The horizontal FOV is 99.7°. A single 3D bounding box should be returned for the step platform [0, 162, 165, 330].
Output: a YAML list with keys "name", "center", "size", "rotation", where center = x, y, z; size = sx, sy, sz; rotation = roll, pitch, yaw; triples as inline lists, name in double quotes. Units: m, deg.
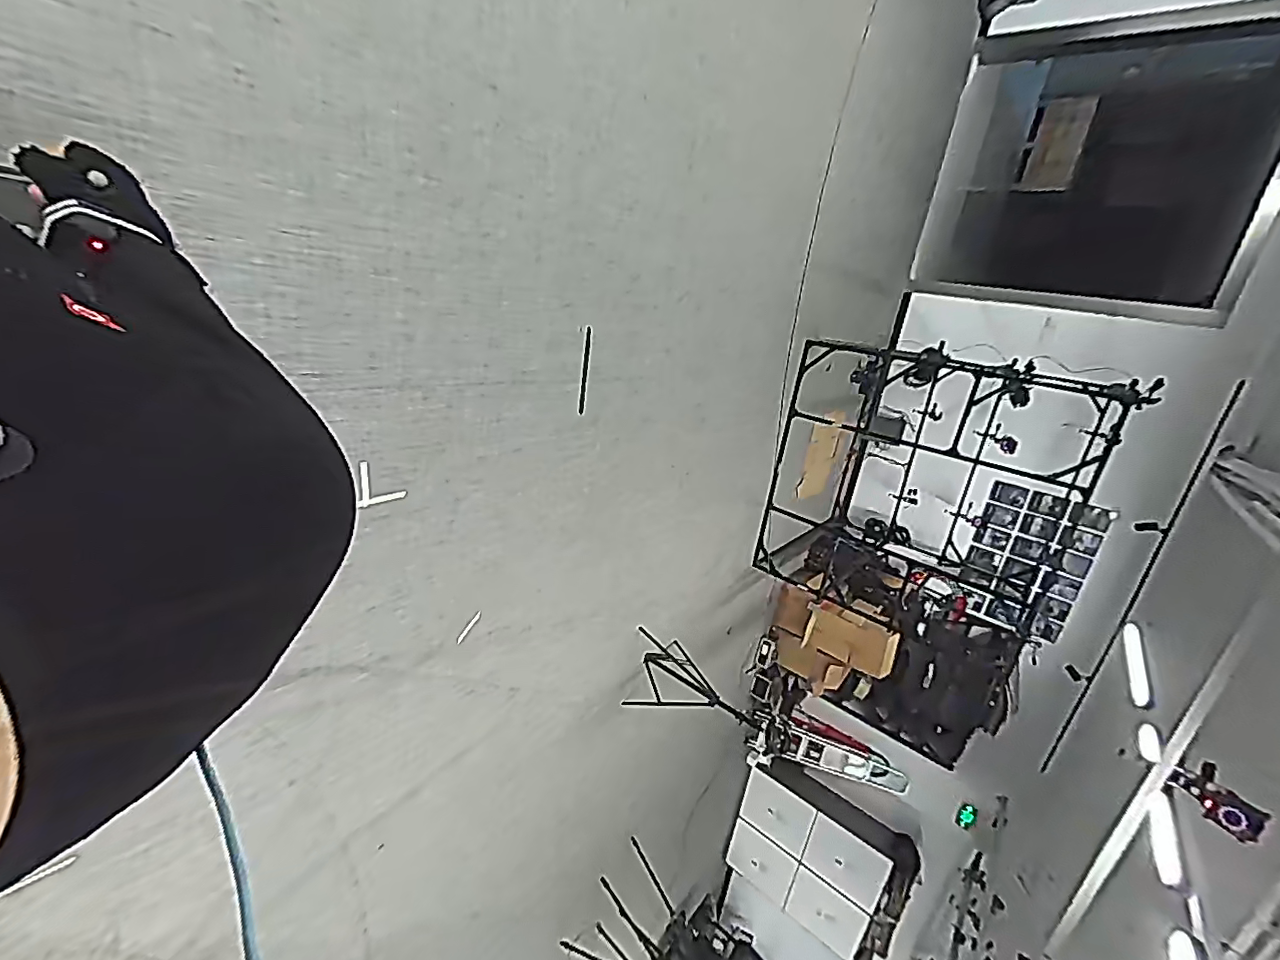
- name: "step platform"
  center: [-1.253, -0.413, 0.907]
  size: [0.684, 0.204, 0.286]
  rotation: [-18, 122, -50]
